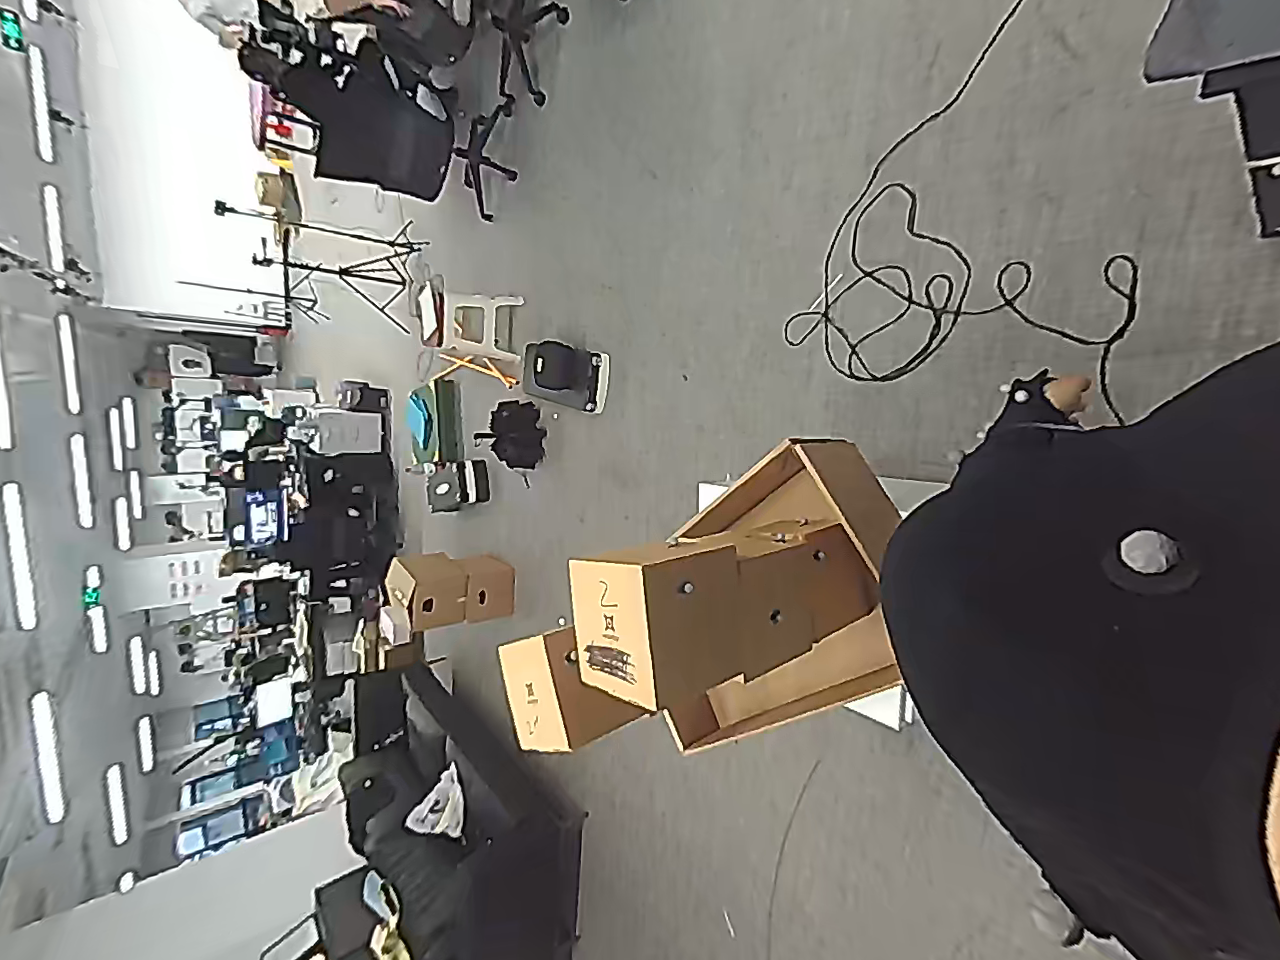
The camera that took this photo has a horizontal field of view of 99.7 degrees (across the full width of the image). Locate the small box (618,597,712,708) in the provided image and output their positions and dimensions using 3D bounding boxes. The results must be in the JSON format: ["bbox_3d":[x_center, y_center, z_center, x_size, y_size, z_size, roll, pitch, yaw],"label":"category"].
[{"bbox_3d":[0.009,0.327,1.048,0.179,0.176,0.168,-24,78,46],"label":"small box"}]

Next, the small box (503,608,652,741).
[{"bbox_3d":[-0.108,0.327,0.930,0.168,0.176,0.179,-29,73,47],"label":"small box"}]

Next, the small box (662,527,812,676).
[{"bbox_3d":[0.155,0.177,0.857,0.168,0.176,0.179,3,99,51],"label":"small box"}]
